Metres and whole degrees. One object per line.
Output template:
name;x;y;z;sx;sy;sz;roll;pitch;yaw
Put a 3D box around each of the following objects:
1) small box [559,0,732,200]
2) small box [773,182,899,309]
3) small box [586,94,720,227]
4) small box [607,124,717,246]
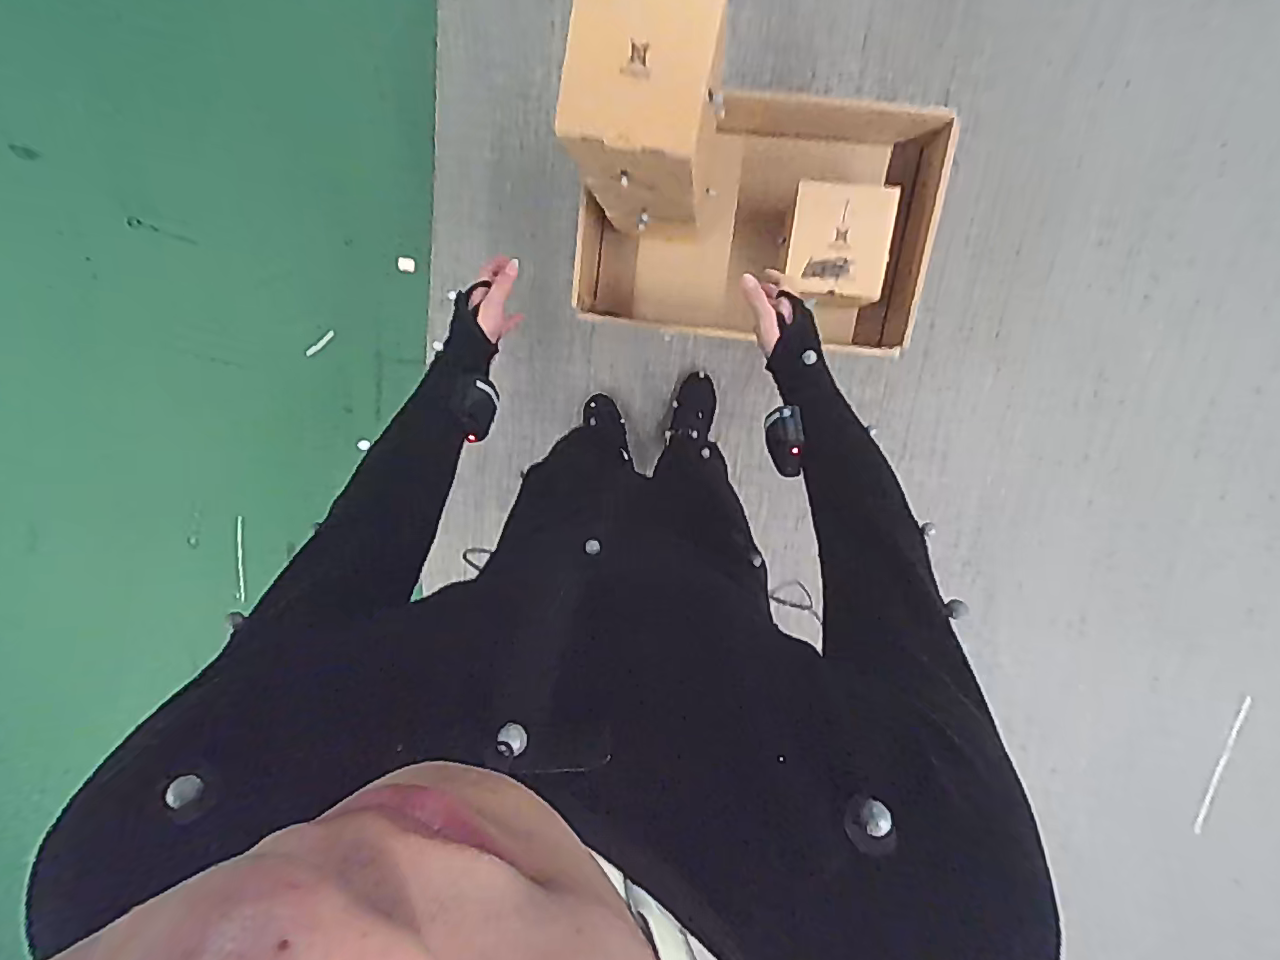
small box;0.010;-0.480;0.677;0.168;0.176;0.179;13;104;4
small box;0.344;-0.415;0.985;0.168;0.176;0.179;8;102;5
small box;0.025;-0.514;0.834;0.168;0.176;0.179;12;103;5
small box;0.042;-0.549;0.993;0.168;0.176;0.179;10;103;4
